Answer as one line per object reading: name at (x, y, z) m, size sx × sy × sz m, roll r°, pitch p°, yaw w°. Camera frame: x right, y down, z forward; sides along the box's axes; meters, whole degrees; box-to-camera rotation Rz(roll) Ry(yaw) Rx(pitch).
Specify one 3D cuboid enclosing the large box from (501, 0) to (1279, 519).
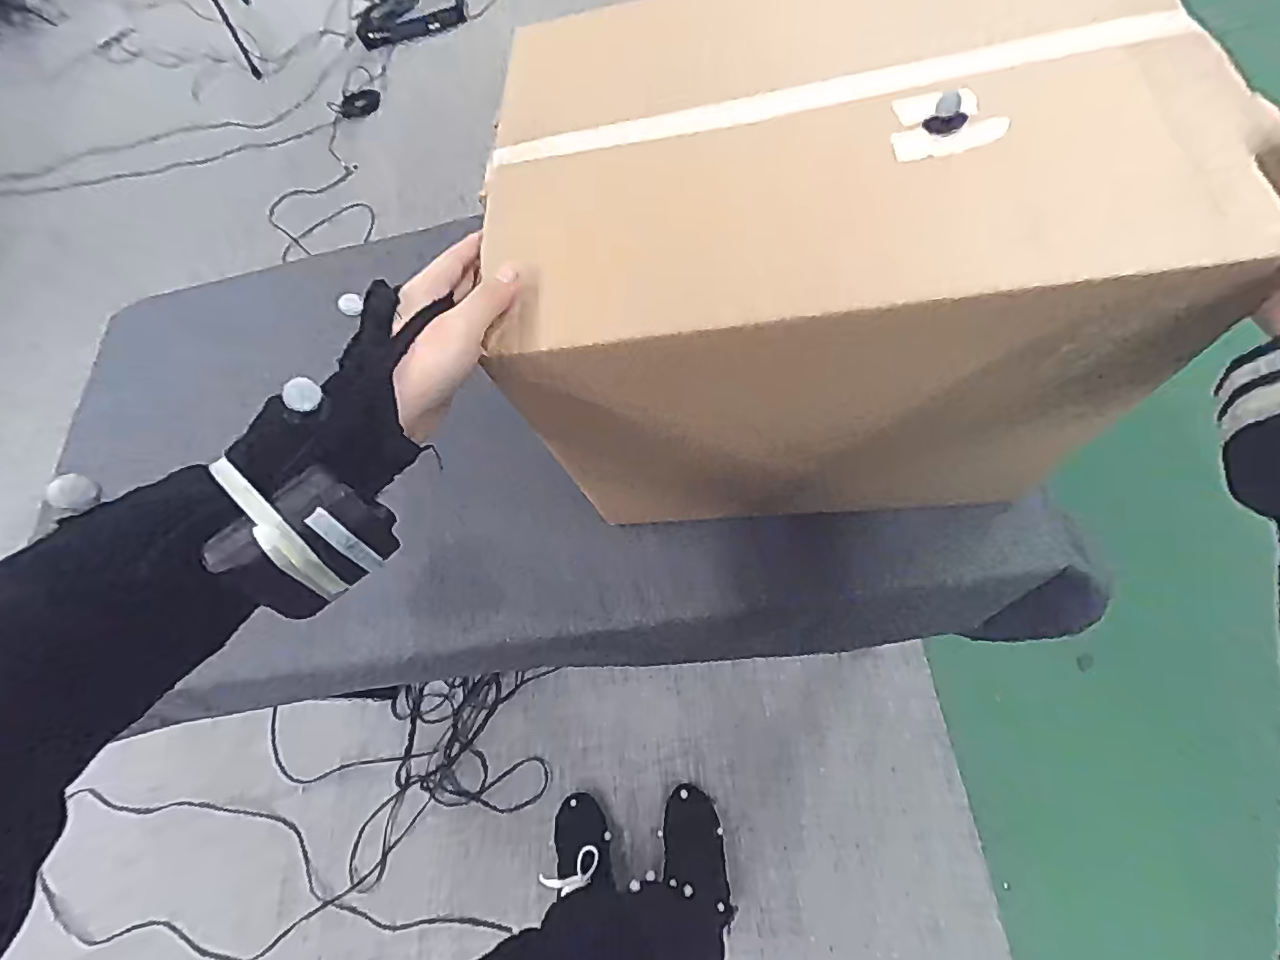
large box at (0.136, -0.169, 0.472) m, size 0.408 × 0.320 × 0.320 m, roll -4°, pitch 67°, yaw 9°
